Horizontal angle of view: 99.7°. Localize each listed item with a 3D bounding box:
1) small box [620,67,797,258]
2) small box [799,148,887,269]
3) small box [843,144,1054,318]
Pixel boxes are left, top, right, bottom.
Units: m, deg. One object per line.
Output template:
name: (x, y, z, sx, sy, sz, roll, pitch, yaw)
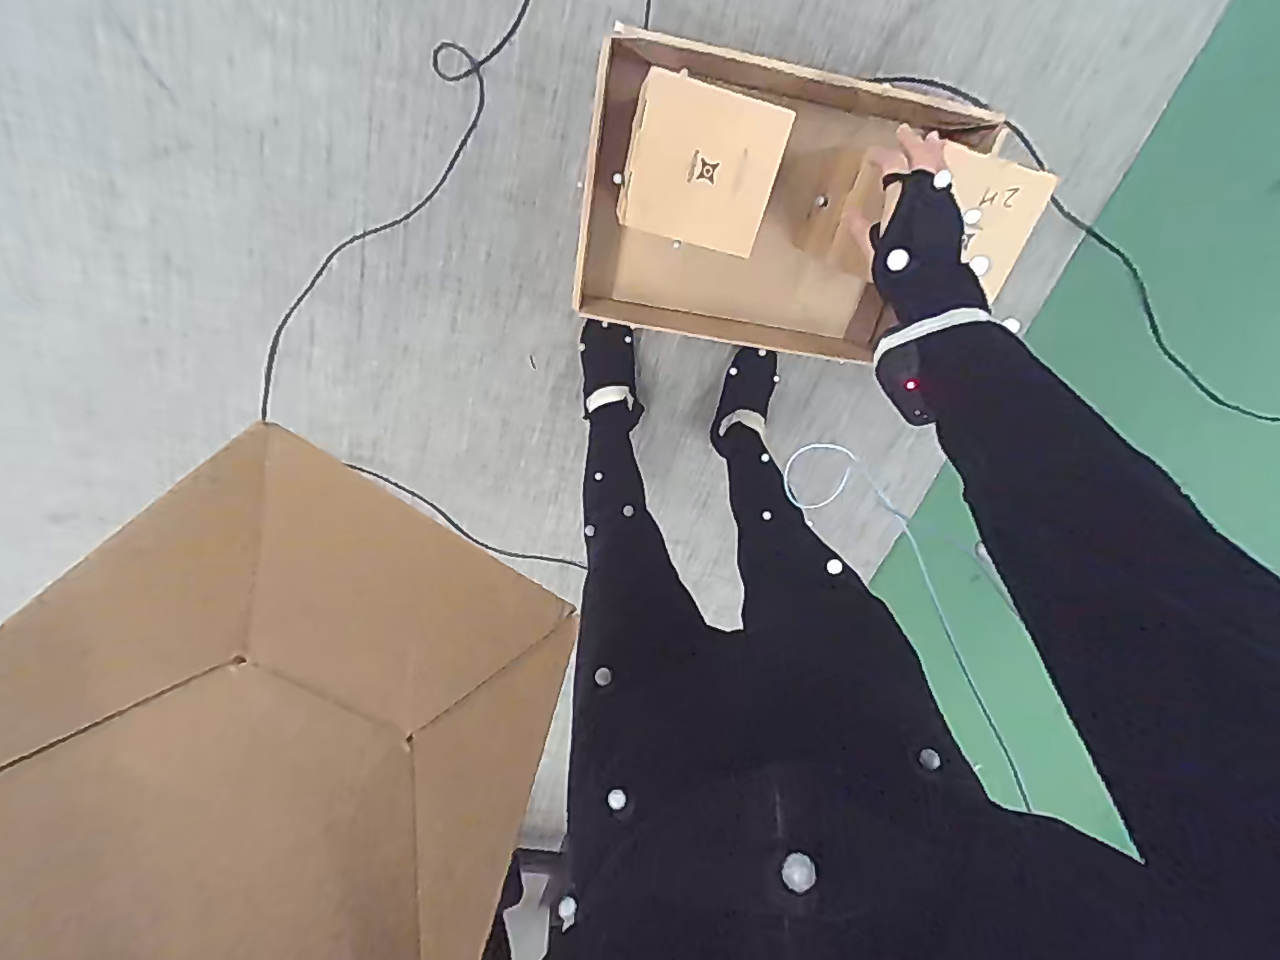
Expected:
small box: (0.075, -0.412, 0.718, 0.179, 0.176, 0.168, 11, 119, -11)
small box: (0.393, -0.438, 0.910, 0.179, 0.176, 0.168, 12, 118, -9)
small box: (0.416, -0.353, 0.771, 0.168, 0.176, 0.179, 11, 118, -10)
